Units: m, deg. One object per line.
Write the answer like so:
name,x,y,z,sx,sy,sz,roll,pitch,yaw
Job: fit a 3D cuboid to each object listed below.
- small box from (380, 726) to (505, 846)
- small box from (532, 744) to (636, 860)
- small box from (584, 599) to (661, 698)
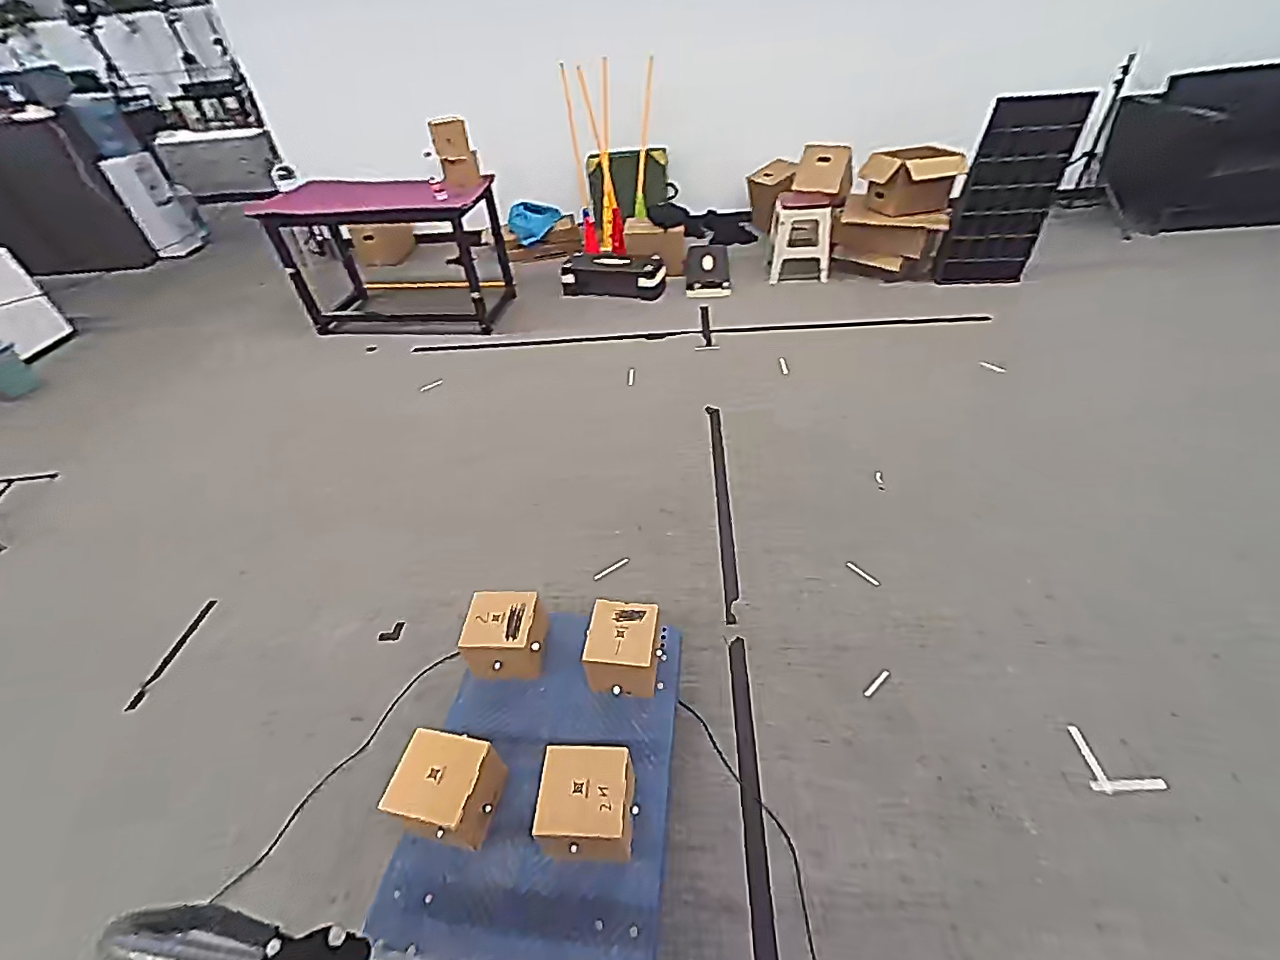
small box,-0.415,0.663,1.169,0.179,0.176,0.168,7,43,10
small box,-0.108,0.672,1.127,0.179,0.176,0.168,-1,42,6
small box,-0.037,0.431,1.387,0.168,0.176,0.179,3,44,9
